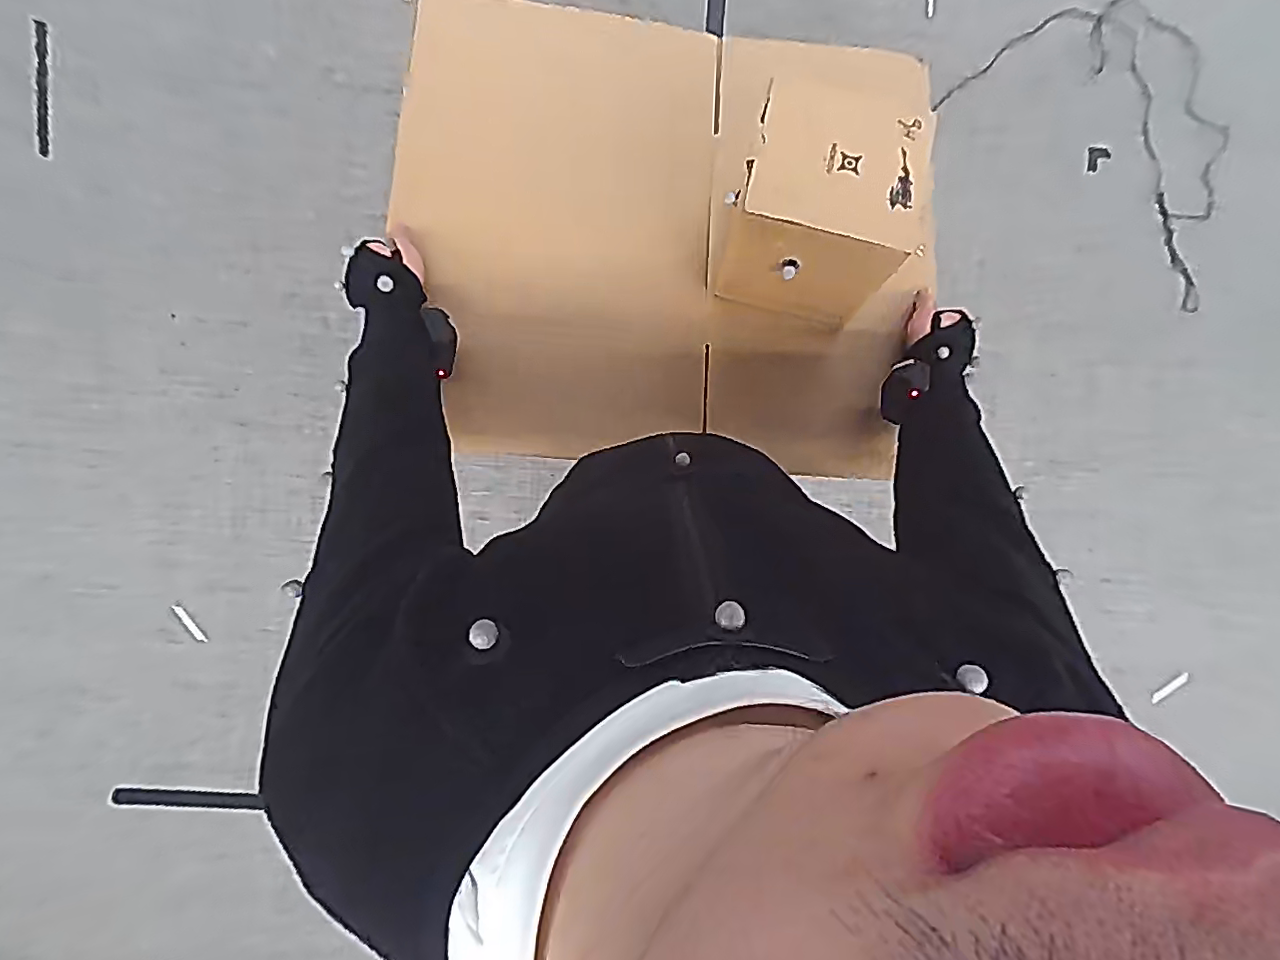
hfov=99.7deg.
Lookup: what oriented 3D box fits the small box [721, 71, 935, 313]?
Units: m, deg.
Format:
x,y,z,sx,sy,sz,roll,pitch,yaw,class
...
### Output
x,y,z,sx,sy,sz,roll,pitch,yaw,class
0.202,-0.316,0.627,0.179,0.176,0.168,14,81,1,small box
